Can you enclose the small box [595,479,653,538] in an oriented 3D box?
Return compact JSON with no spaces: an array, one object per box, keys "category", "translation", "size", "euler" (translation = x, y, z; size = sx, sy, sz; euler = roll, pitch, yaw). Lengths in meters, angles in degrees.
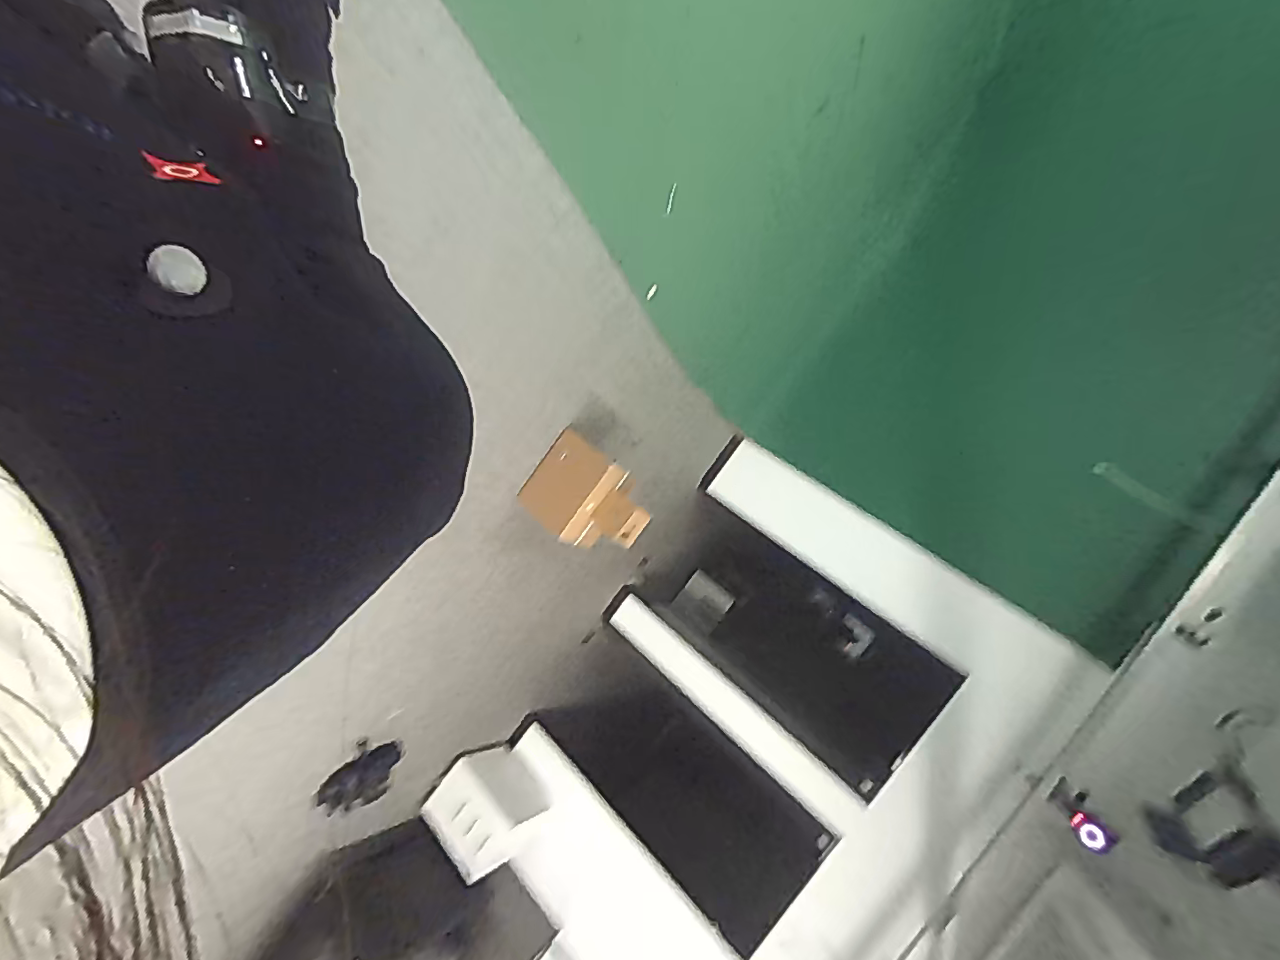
[{"category":"small box","translation":[-0.079,0.126,2.424],"size":[0.179,0.176,0.168],"euler":[-51,150,-4]}]
